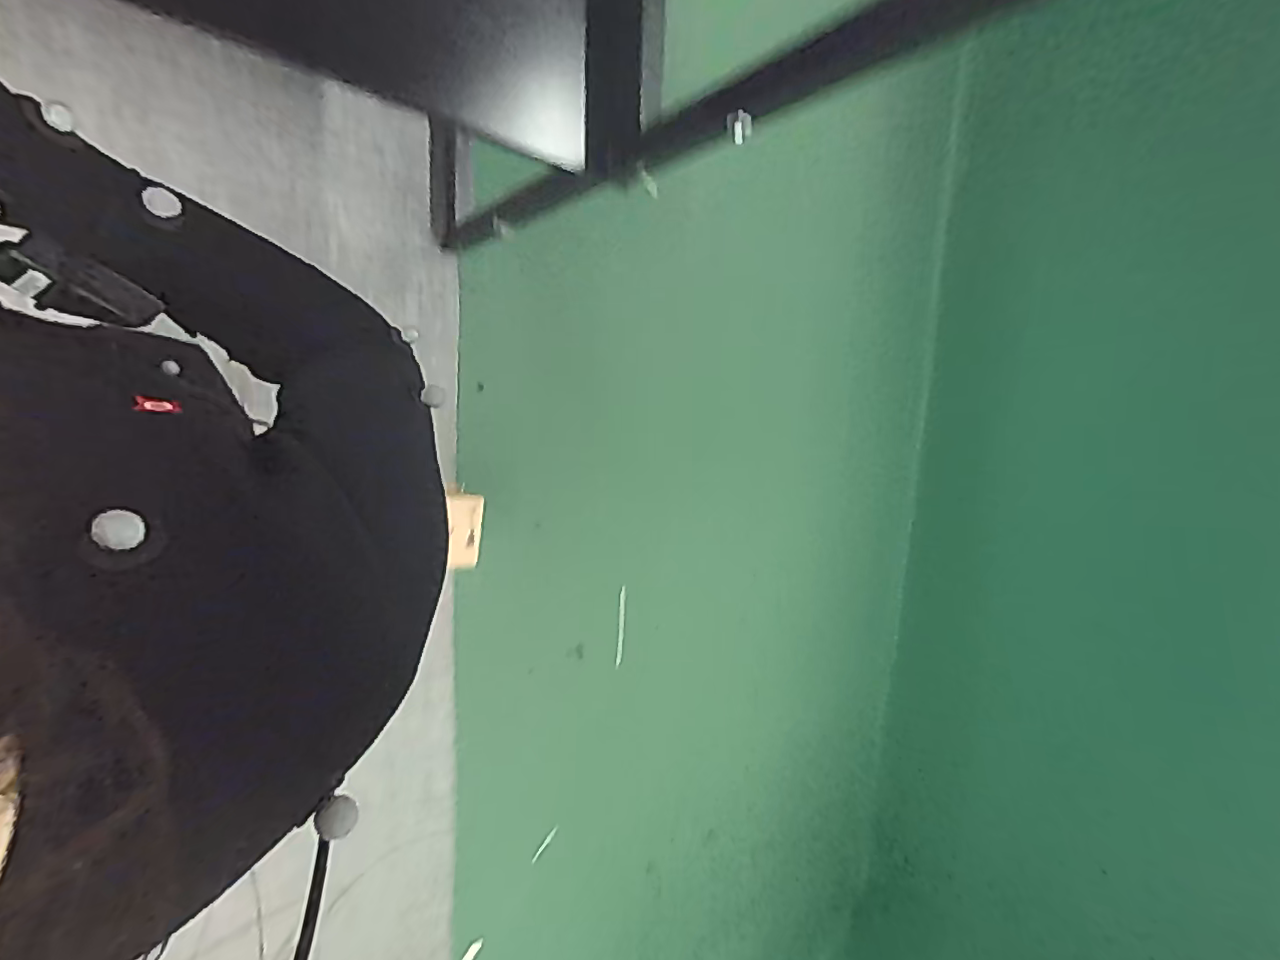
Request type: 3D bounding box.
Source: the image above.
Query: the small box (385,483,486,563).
[{"bbox_3d":[-0.493,0.100,1.292,0.179,0.176,0.168,5,93,-41],"label":"small box"}]
